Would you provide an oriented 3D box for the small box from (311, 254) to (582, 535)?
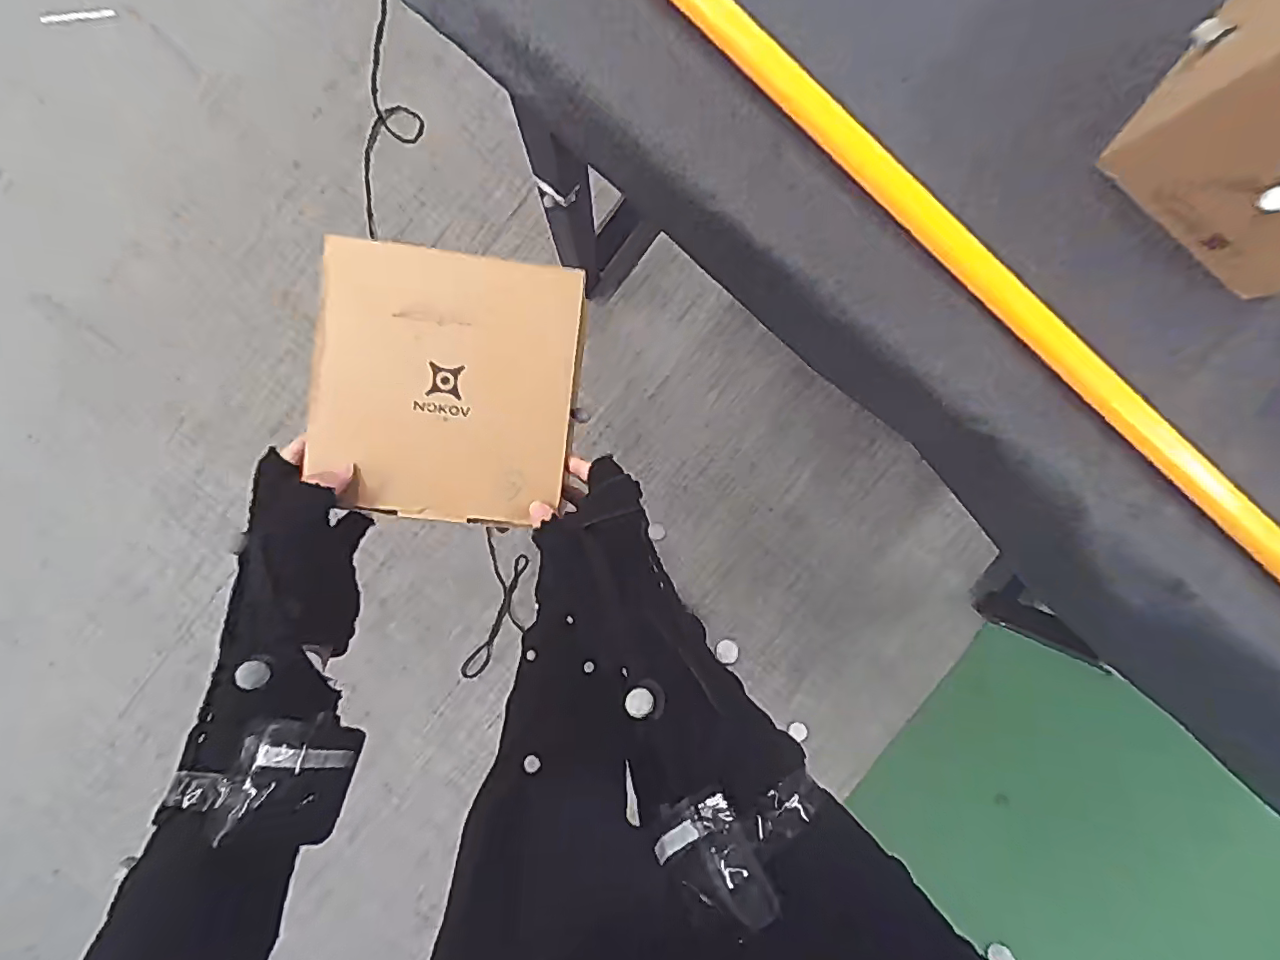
[{"bbox_3d":[-0.138,-0.057,0.447,0.168,0.176,0.179,6,89,-6],"label":"small box"}]
